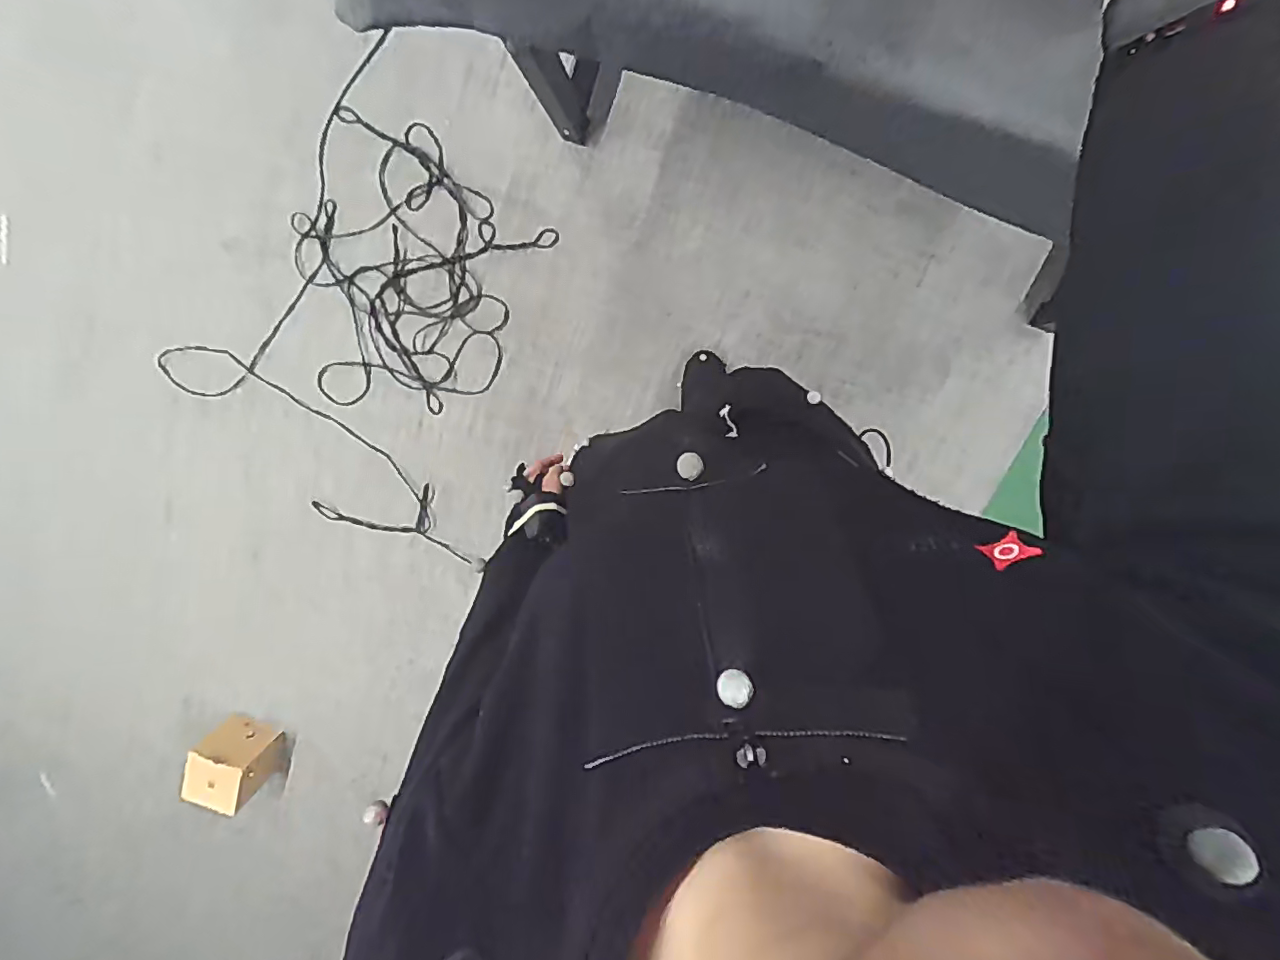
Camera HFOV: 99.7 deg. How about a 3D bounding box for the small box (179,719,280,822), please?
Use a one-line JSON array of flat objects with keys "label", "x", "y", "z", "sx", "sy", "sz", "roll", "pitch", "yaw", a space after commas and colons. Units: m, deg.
[{"label": "small box", "x": -1.211, "y": 0.856, "z": 1.605, "sx": 0.168, "sy": 0.176, "sz": 0.179, "roll": 20, "pitch": 104, "yaw": 0}]
